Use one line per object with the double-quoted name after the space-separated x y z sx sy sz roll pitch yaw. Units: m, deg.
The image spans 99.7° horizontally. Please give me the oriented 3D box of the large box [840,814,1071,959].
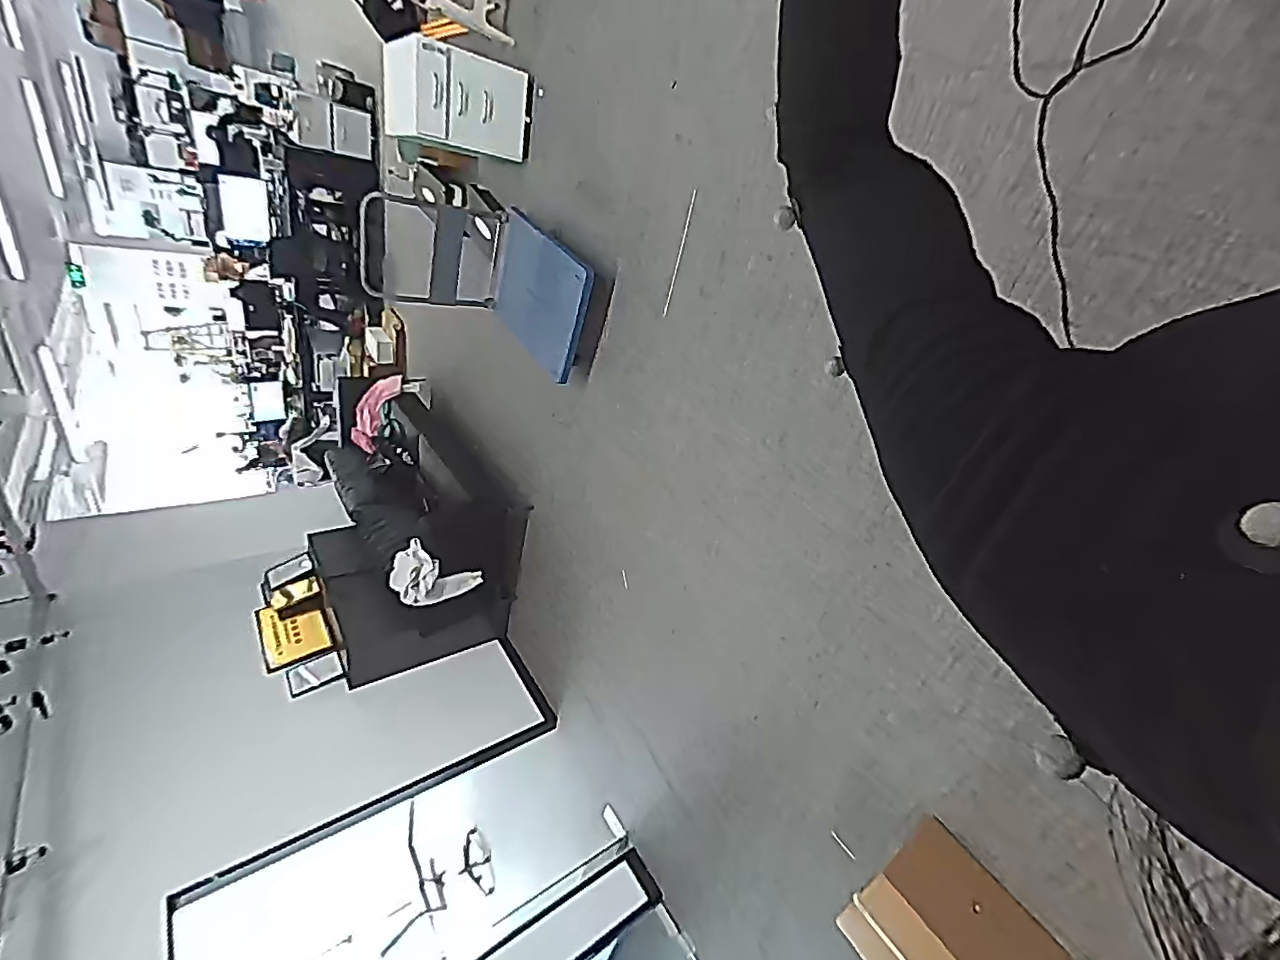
0.857 1.258 1.502 0.408 0.320 0.320 42 129 37 "large box"
